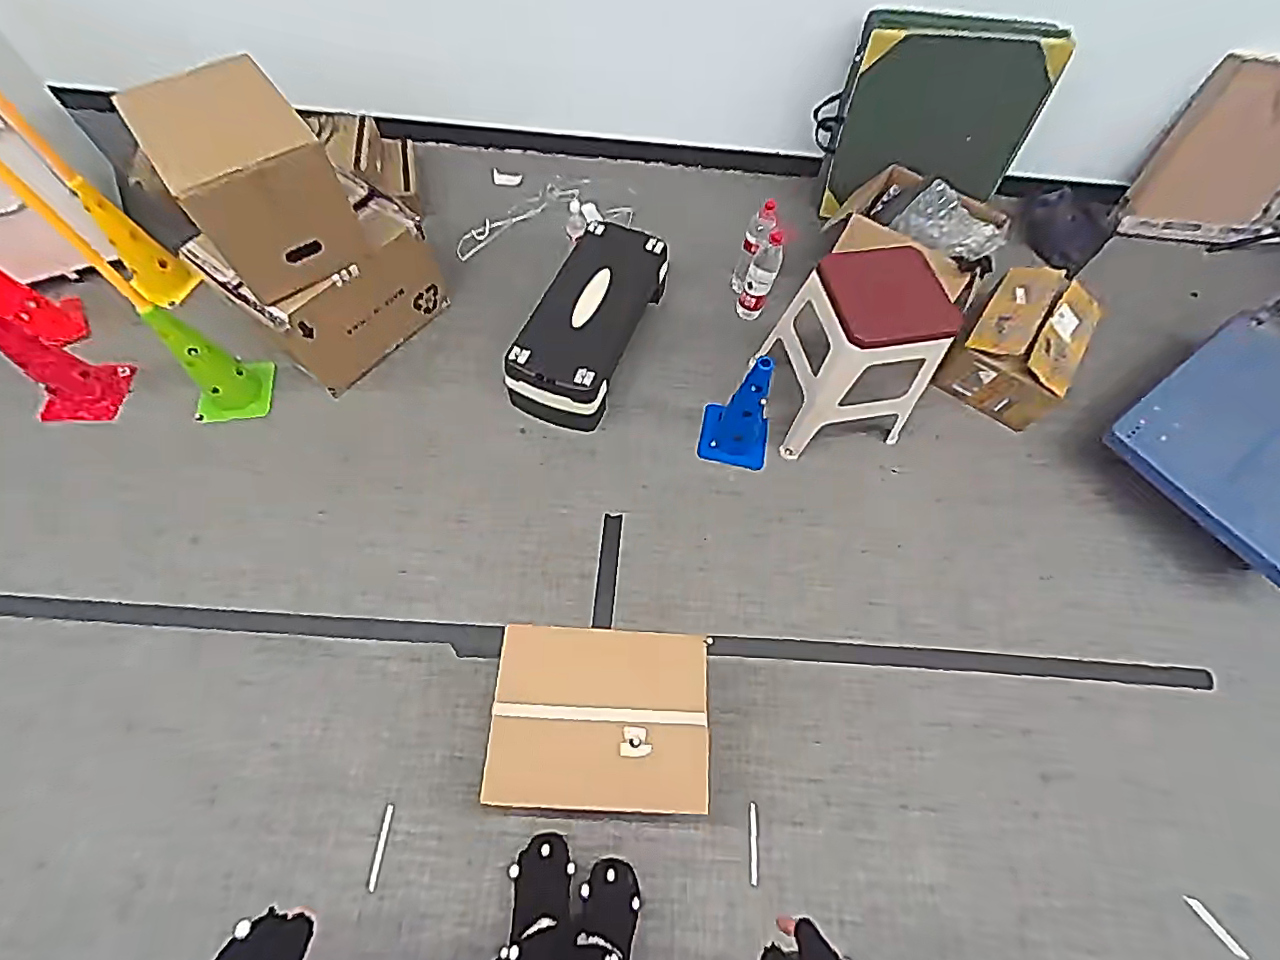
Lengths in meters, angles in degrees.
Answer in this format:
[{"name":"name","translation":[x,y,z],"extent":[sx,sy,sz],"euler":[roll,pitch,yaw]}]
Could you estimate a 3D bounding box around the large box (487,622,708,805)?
[{"name":"large box","translation":[-0.084,0.502,1.159],"extent":[0.408,0.320,0.320],"euler":[4,64,-3]}]
